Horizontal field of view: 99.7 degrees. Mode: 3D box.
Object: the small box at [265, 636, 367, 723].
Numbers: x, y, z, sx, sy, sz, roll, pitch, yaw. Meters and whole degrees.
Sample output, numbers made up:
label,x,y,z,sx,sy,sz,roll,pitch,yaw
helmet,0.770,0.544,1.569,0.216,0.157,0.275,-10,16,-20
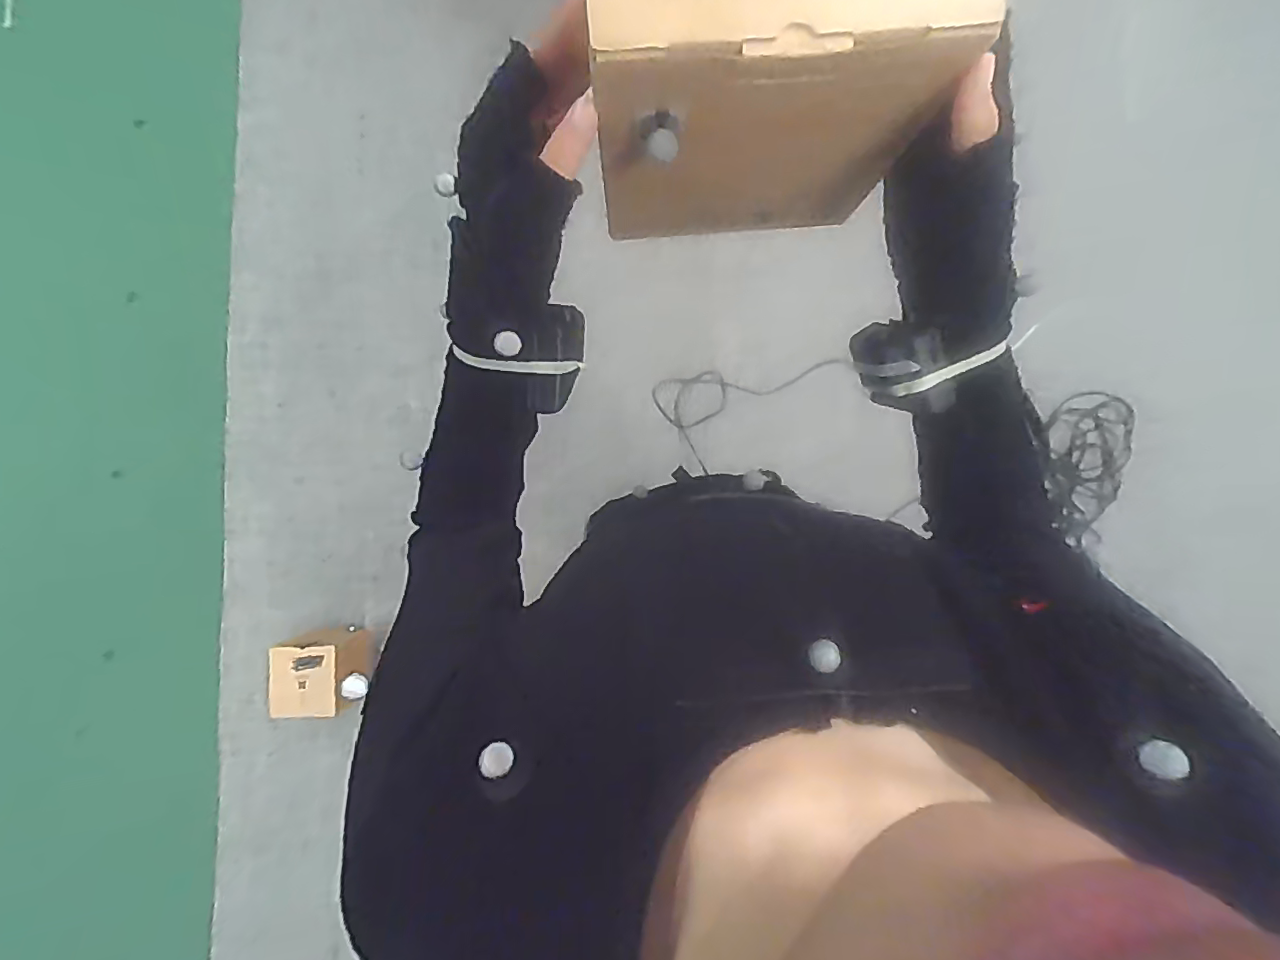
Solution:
label,x,y,z,sx,sy,sz,roll,pitch,yaw
small box,-0.822,0.503,1.386,0.168,0.176,0.179,-1,88,0
